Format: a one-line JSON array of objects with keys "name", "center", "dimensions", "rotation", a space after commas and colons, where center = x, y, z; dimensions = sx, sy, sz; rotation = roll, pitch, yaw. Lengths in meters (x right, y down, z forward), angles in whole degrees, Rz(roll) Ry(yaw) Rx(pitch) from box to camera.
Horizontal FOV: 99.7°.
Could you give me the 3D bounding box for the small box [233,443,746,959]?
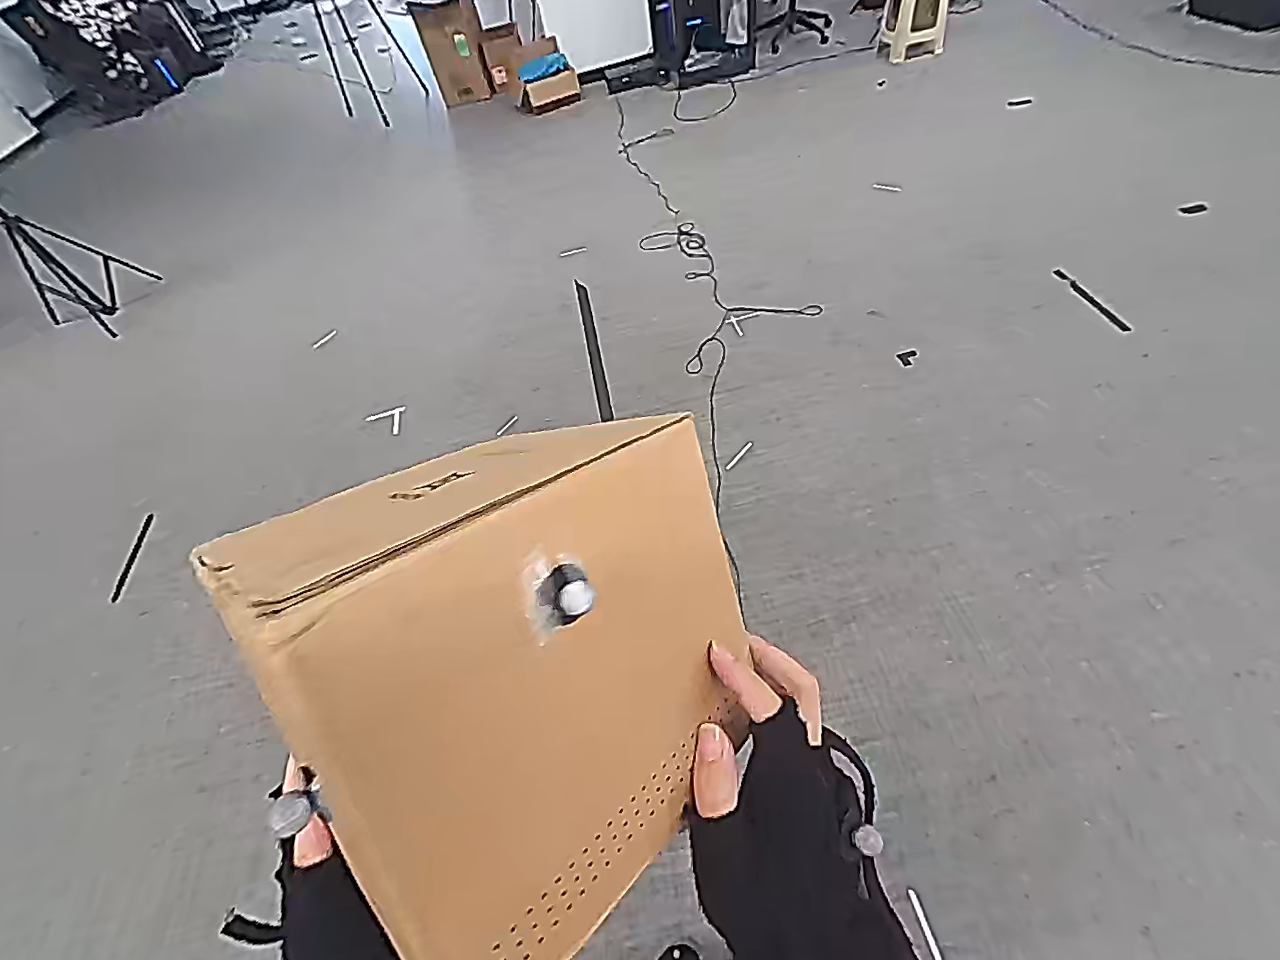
[{"name": "small box", "center": [-0.065, 0.090, 0.280], "dimensions": [0.168, 0.176, 0.179], "rotation": [-1, 19, 46]}]
